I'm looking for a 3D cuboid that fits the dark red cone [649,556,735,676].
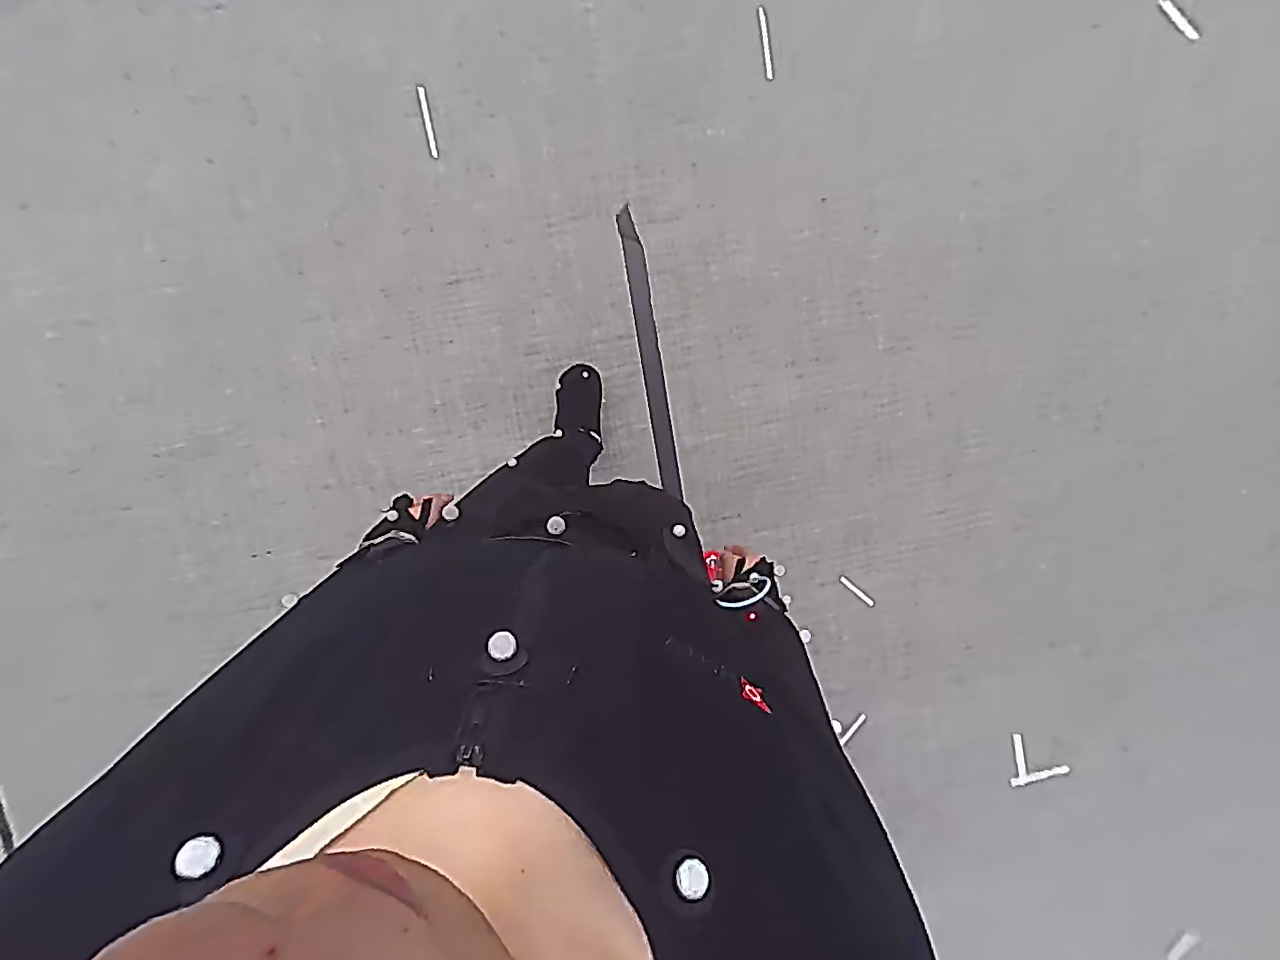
[{"bbox_3d":[0.140,0.324,1.217,0.201,0.394,0.202,-11,99,-1],"label":"dark red cone"}]
